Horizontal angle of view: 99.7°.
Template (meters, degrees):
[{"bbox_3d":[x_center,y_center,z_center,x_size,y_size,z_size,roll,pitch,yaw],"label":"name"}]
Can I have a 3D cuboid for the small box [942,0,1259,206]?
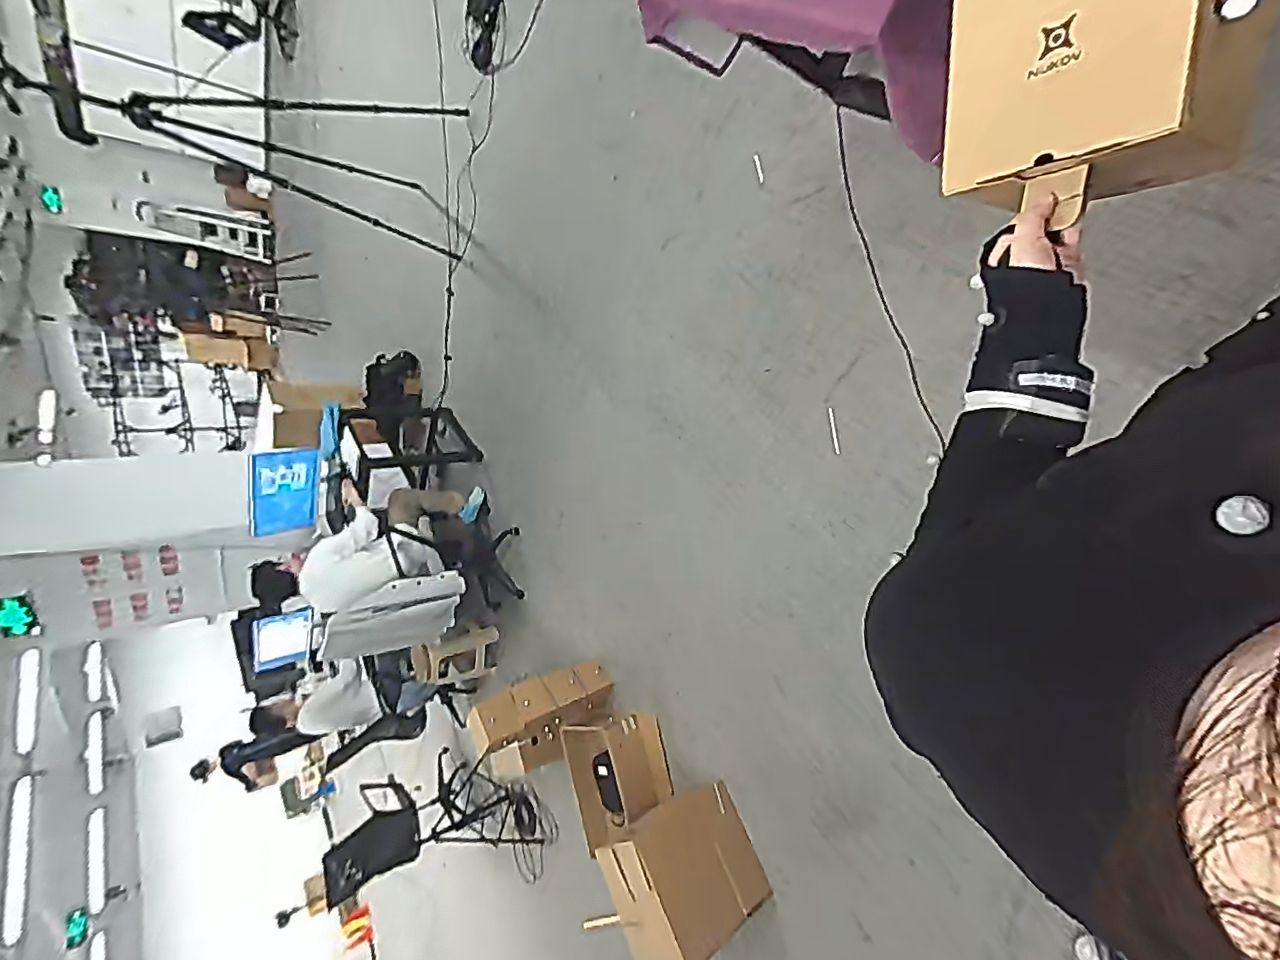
[{"bbox_3d":[0.397,-0.360,0.472,0.168,0.176,0.179,16,113,54],"label":"small box"}]
